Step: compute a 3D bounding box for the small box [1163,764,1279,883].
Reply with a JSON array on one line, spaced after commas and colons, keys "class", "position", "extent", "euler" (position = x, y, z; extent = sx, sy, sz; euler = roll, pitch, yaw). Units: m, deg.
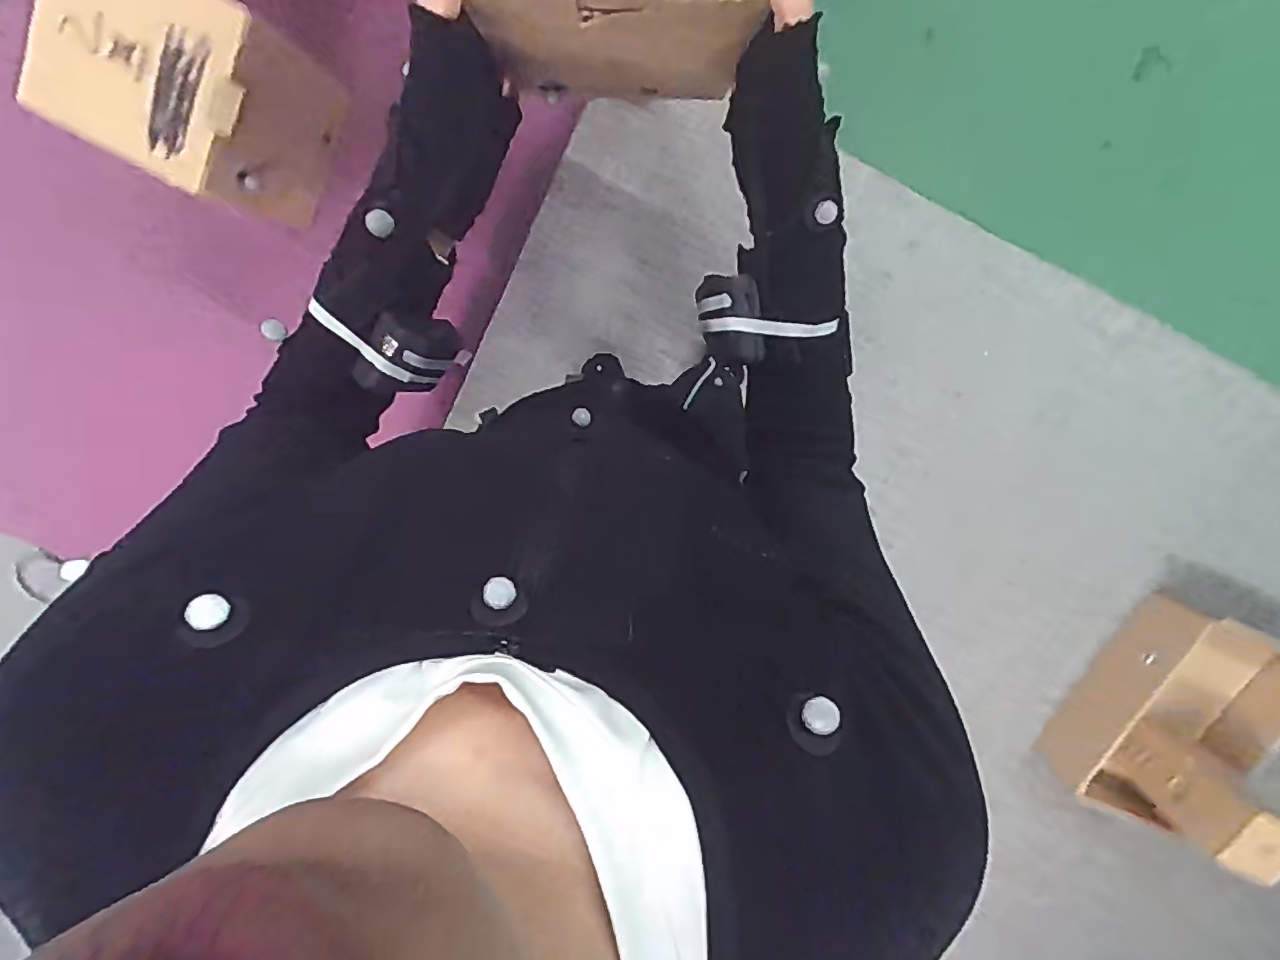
[{"class": "small box", "position": [1.520, 0.867, 1.382], "extent": [0.179, 0.176, 0.168], "euler": [23, 103, -6]}]

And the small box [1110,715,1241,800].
[{"class": "small box", "position": [1.525, 0.810, 1.555], "extent": [0.179, 0.176, 0.168], "euler": [19, 102, -5]}]

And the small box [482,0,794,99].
[{"class": "small box", "position": [0.000, -0.350, 0.318], "extent": [0.168, 0.176, 0.179], "euler": [0, 110, -3]}]
